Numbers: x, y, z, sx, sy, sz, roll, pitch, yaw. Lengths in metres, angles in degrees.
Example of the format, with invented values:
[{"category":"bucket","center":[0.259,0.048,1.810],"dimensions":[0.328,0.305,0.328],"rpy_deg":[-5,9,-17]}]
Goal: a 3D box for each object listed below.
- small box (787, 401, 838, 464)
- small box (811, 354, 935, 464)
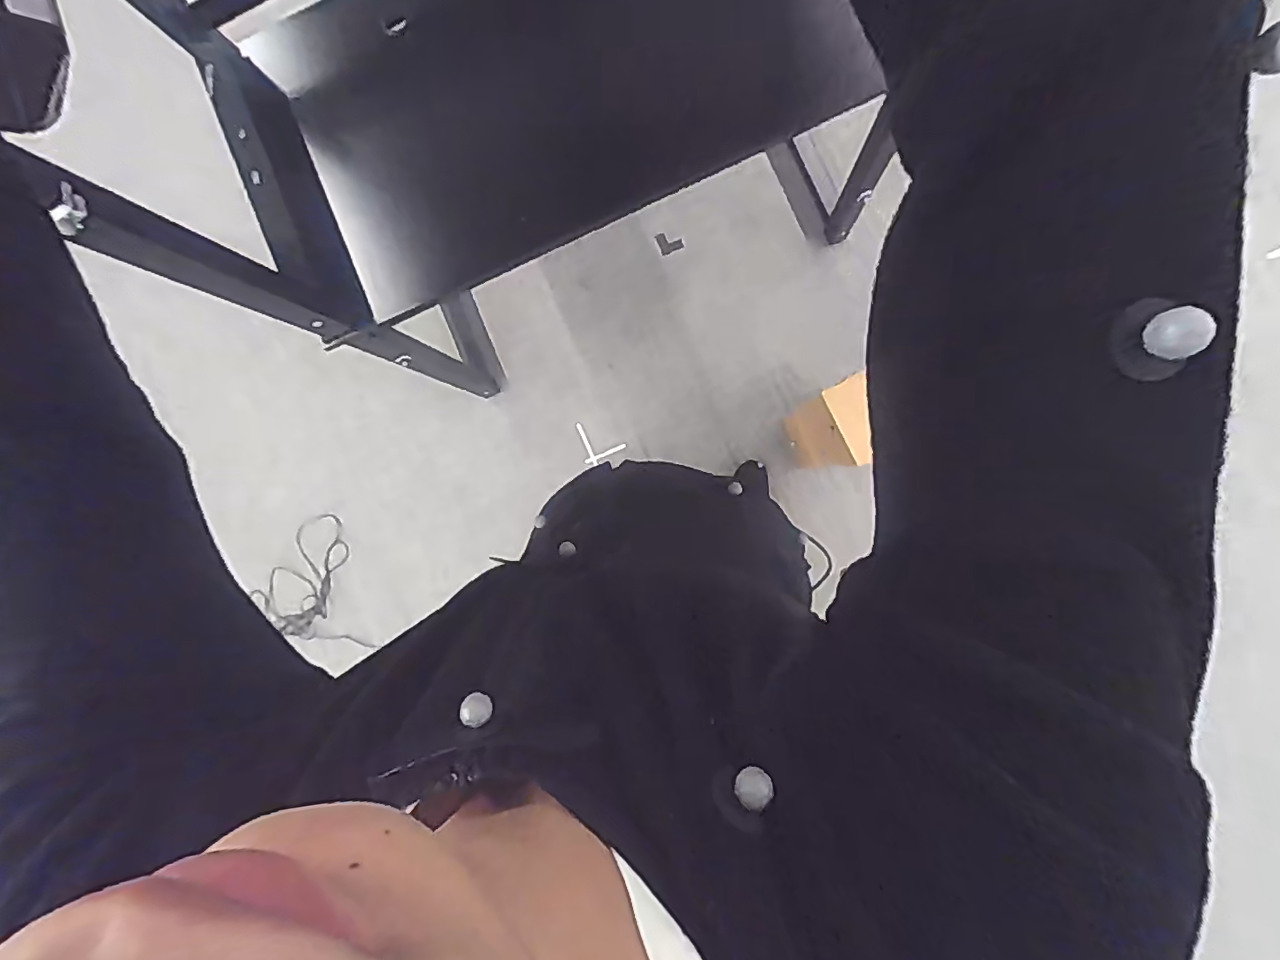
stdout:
[{"category":"small box","center":[0.530,-0.151,1.500],"dimensions":[0.179,0.176,0.168],"rpy_deg":[-25,87,7]},{"category":"small box","center":[0.495,-0.146,1.175],"dimensions":[0.168,0.176,0.179],"rpy_deg":[-26,87,7]}]
